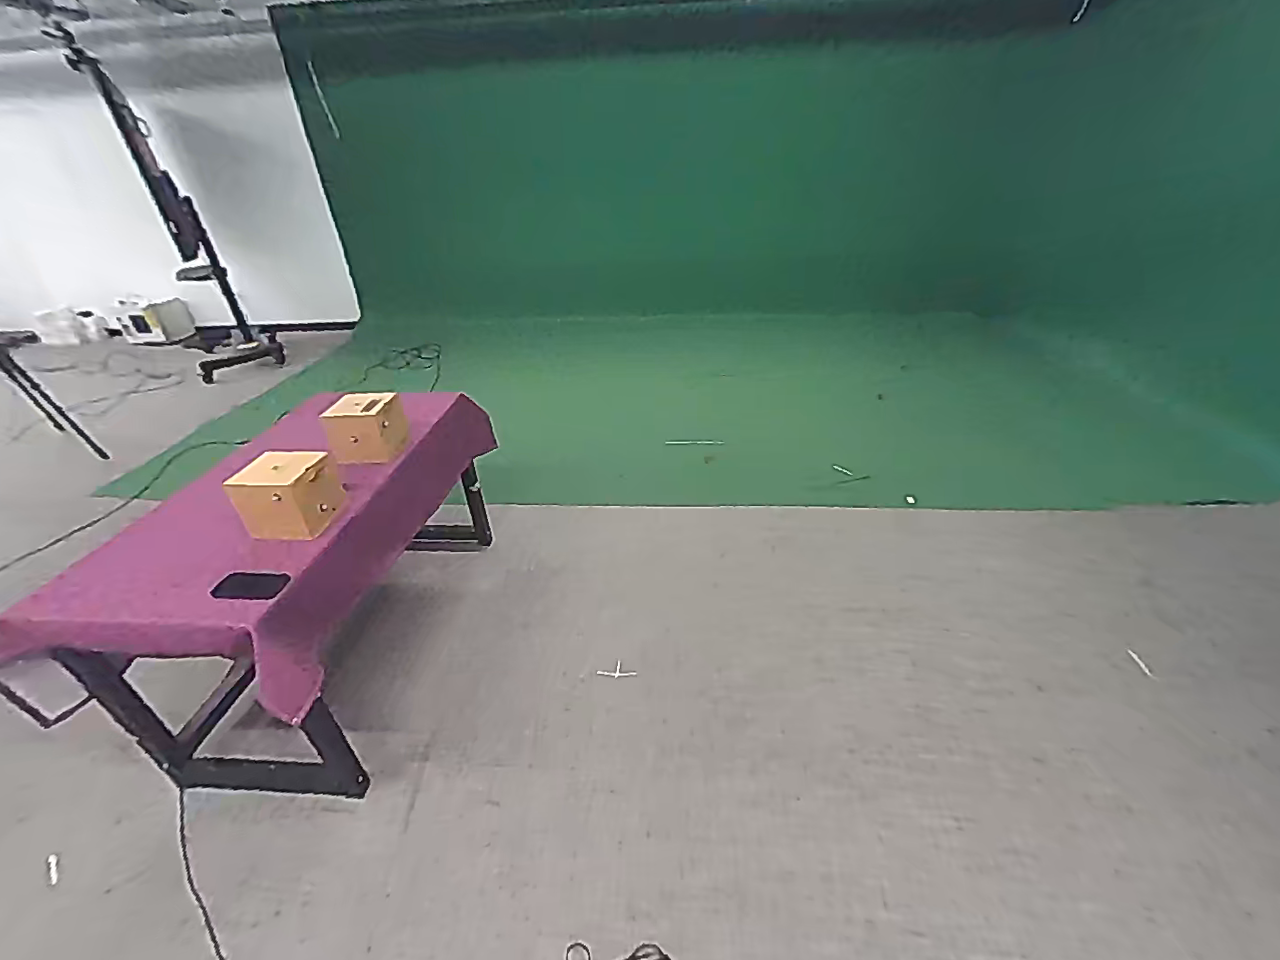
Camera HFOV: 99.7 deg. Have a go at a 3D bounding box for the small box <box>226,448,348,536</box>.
[{"bbox_3d":[-0.899,0.030,1.394,0.179,0.176,0.168,2,33,5],"label":"small box"}]
